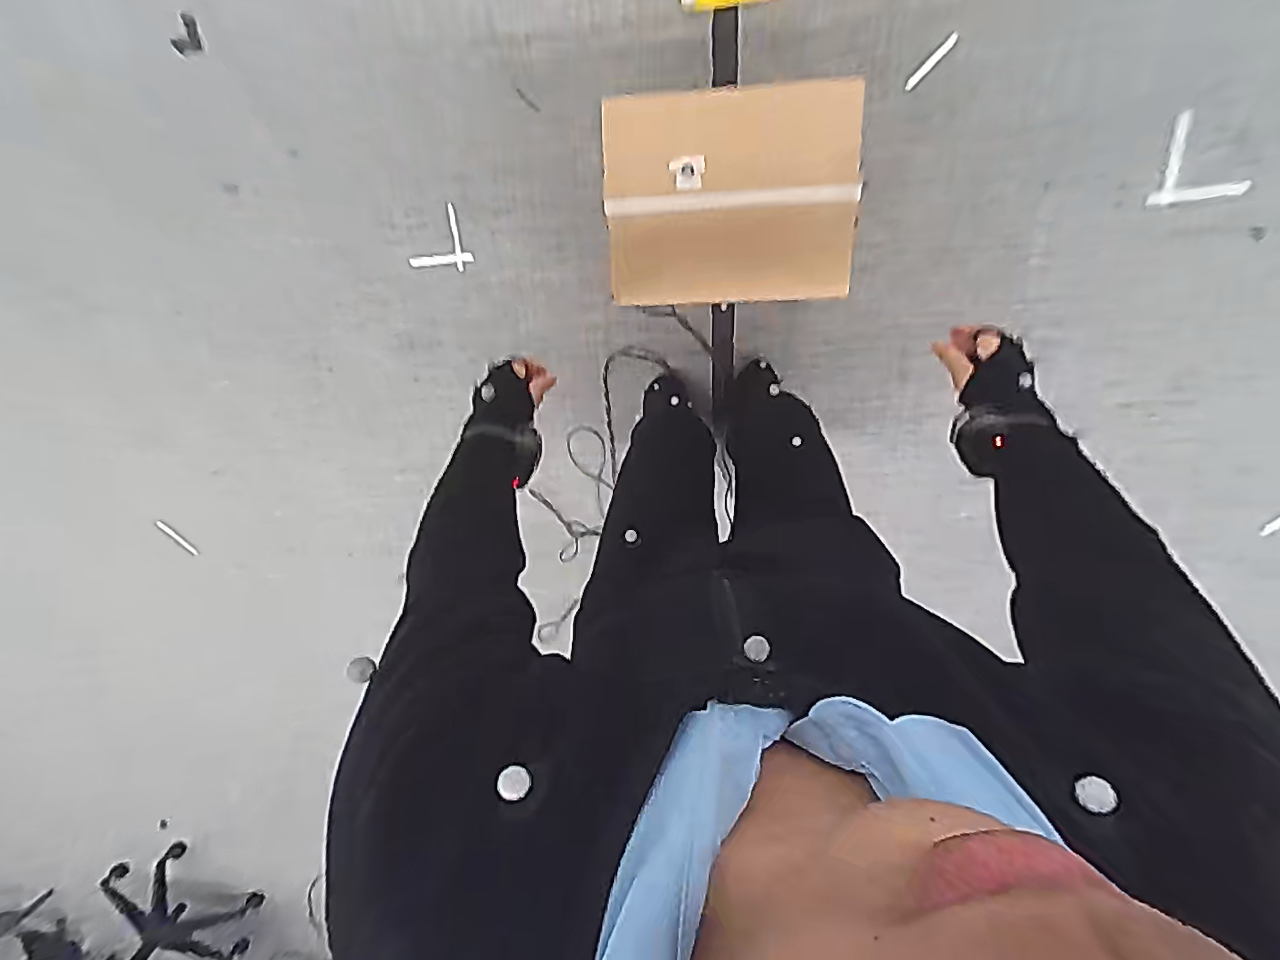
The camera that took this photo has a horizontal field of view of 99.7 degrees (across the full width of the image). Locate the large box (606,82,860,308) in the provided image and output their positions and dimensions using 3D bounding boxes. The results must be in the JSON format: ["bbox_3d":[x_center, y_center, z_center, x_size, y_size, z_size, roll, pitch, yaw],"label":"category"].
[{"bbox_3d":[0.169,-0.506,1.033,0.408,0.320,0.320,0,108,8],"label":"large box"}]
